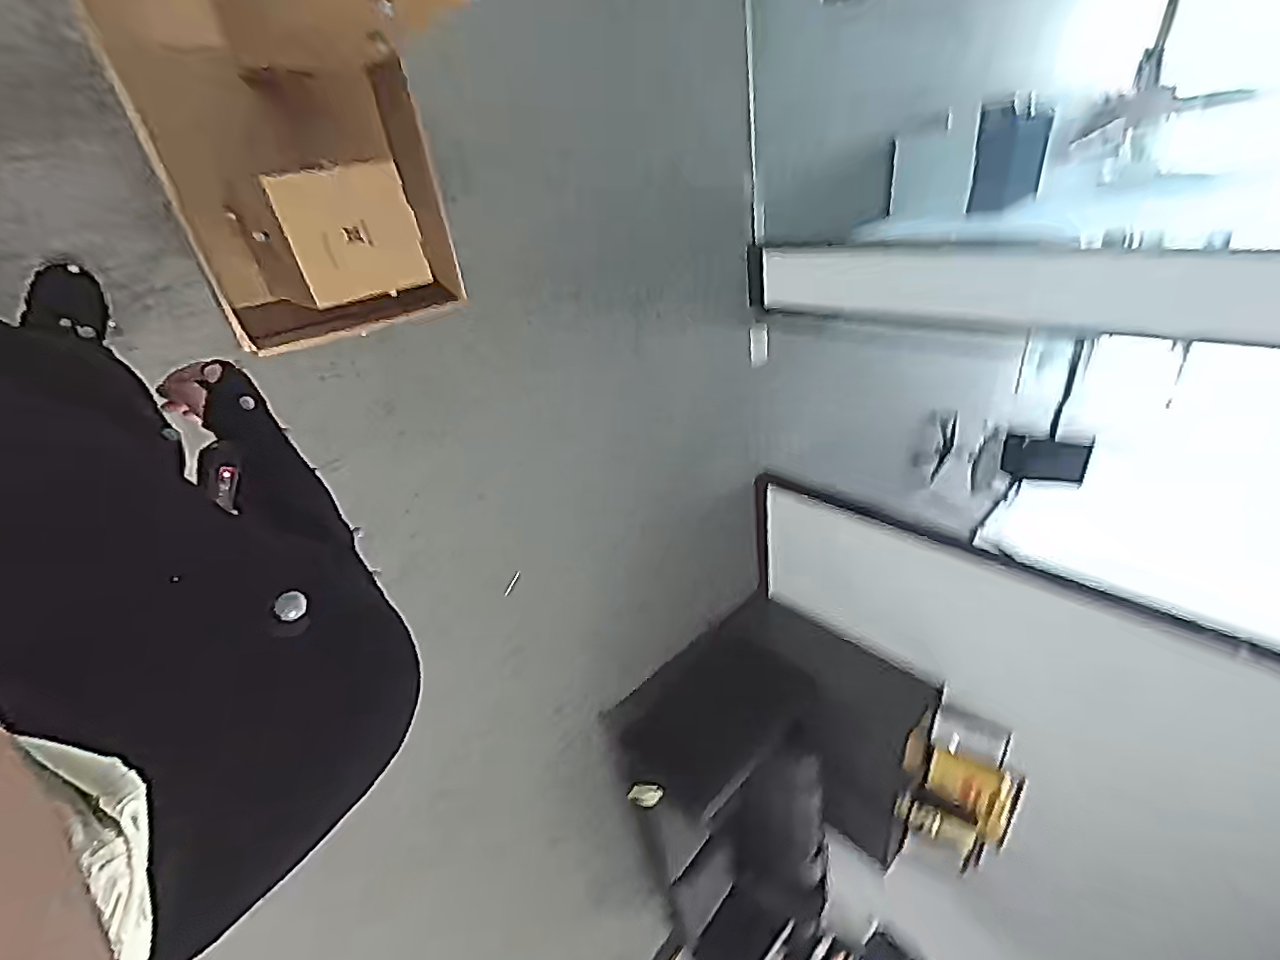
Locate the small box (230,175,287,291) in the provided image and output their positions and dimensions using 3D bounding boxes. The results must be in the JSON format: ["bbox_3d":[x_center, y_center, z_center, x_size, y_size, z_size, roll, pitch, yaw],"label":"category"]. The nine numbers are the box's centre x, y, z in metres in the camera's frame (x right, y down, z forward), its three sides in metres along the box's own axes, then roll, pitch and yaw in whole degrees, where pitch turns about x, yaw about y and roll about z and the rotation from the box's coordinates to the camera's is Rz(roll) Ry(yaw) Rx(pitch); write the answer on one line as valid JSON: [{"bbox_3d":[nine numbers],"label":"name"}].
[{"bbox_3d":[-0.565,-0.426,0.923,0.179,0.176,0.168,-29,127,-34],"label":"small box"}]

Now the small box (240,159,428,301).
[{"bbox_3d":[-0.456,-0.377,0.812,0.179,0.176,0.168,-30,126,-33],"label":"small box"}]

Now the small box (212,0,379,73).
[{"bbox_3d":[-0.533,-0.737,0.819,0.179,0.176,0.168,-27,125,-35],"label":"small box"}]
